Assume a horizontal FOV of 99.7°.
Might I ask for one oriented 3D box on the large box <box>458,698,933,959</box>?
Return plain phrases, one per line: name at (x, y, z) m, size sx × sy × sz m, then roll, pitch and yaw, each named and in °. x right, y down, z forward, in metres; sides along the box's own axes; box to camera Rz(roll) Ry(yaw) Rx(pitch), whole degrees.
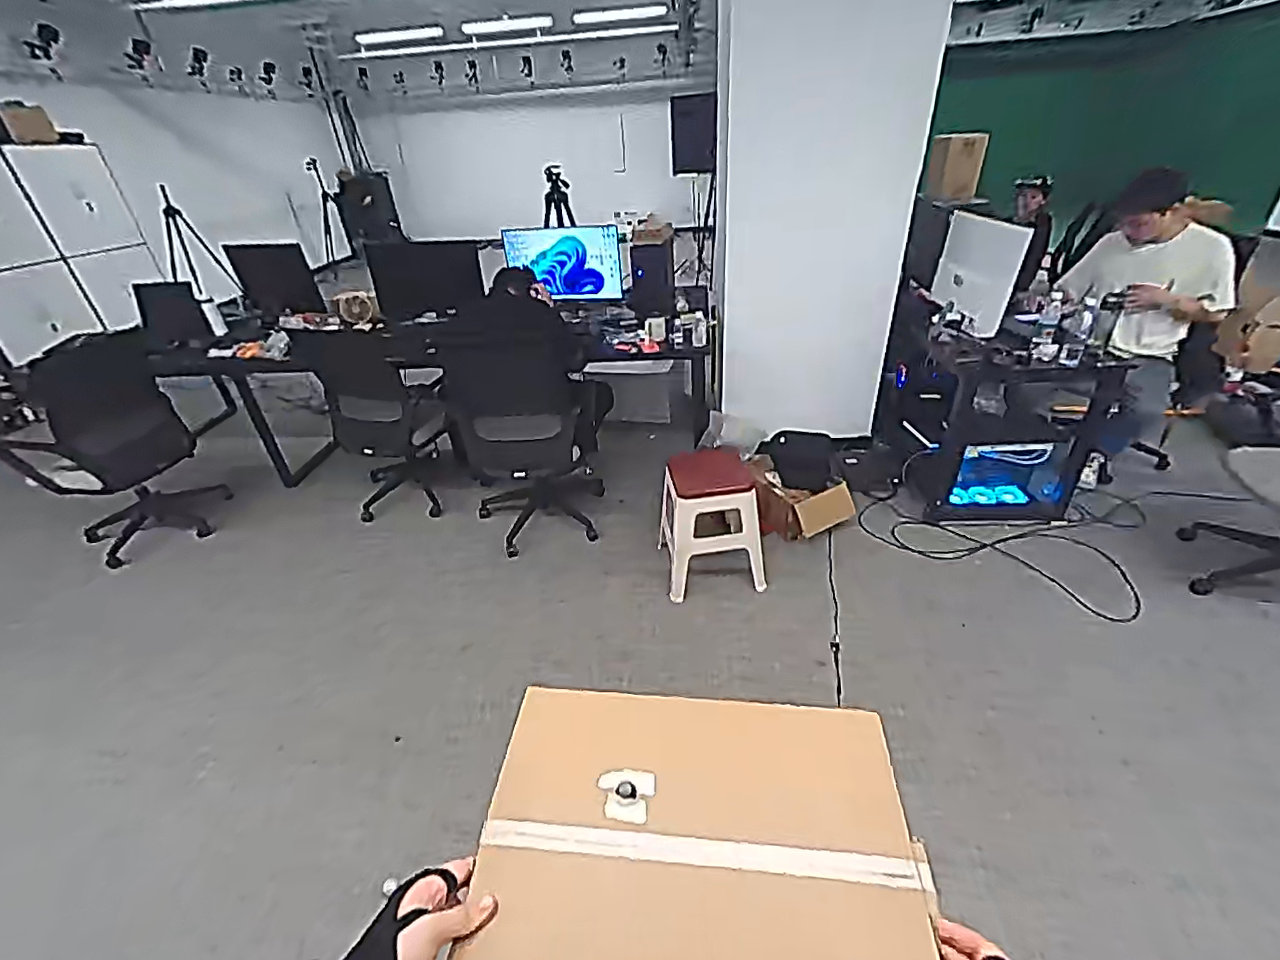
large box at (0.063, 0.472, 0.603) m, size 0.408 × 0.320 × 0.320 m, roll -1°, pitch 36°, yaw 8°
